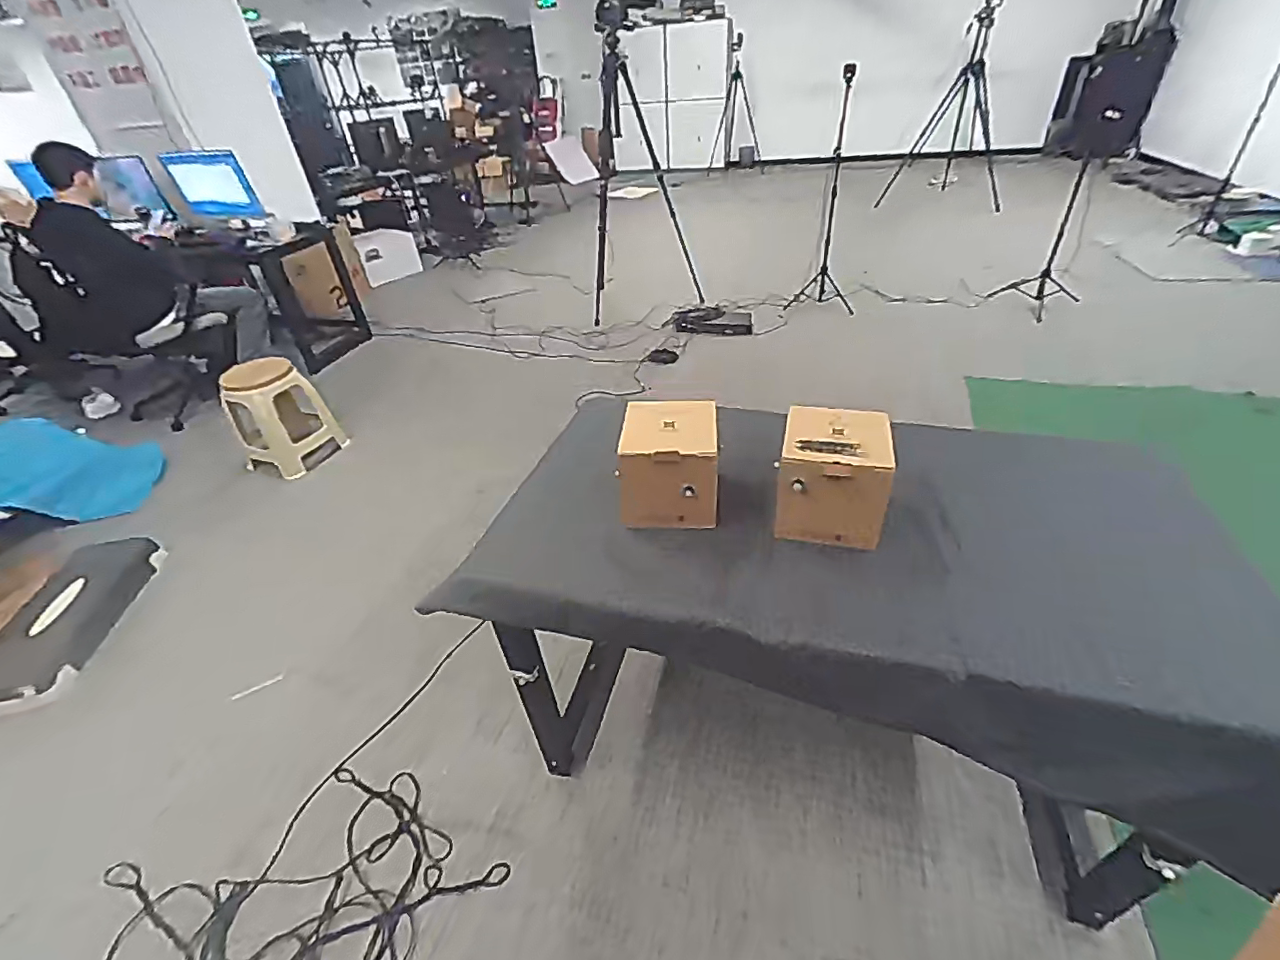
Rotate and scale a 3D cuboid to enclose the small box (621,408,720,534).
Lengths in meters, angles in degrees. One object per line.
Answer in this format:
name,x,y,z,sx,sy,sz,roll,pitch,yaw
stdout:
small box,0.063,-0.017,0.991,0.168,0.176,0.179,1,36,6
